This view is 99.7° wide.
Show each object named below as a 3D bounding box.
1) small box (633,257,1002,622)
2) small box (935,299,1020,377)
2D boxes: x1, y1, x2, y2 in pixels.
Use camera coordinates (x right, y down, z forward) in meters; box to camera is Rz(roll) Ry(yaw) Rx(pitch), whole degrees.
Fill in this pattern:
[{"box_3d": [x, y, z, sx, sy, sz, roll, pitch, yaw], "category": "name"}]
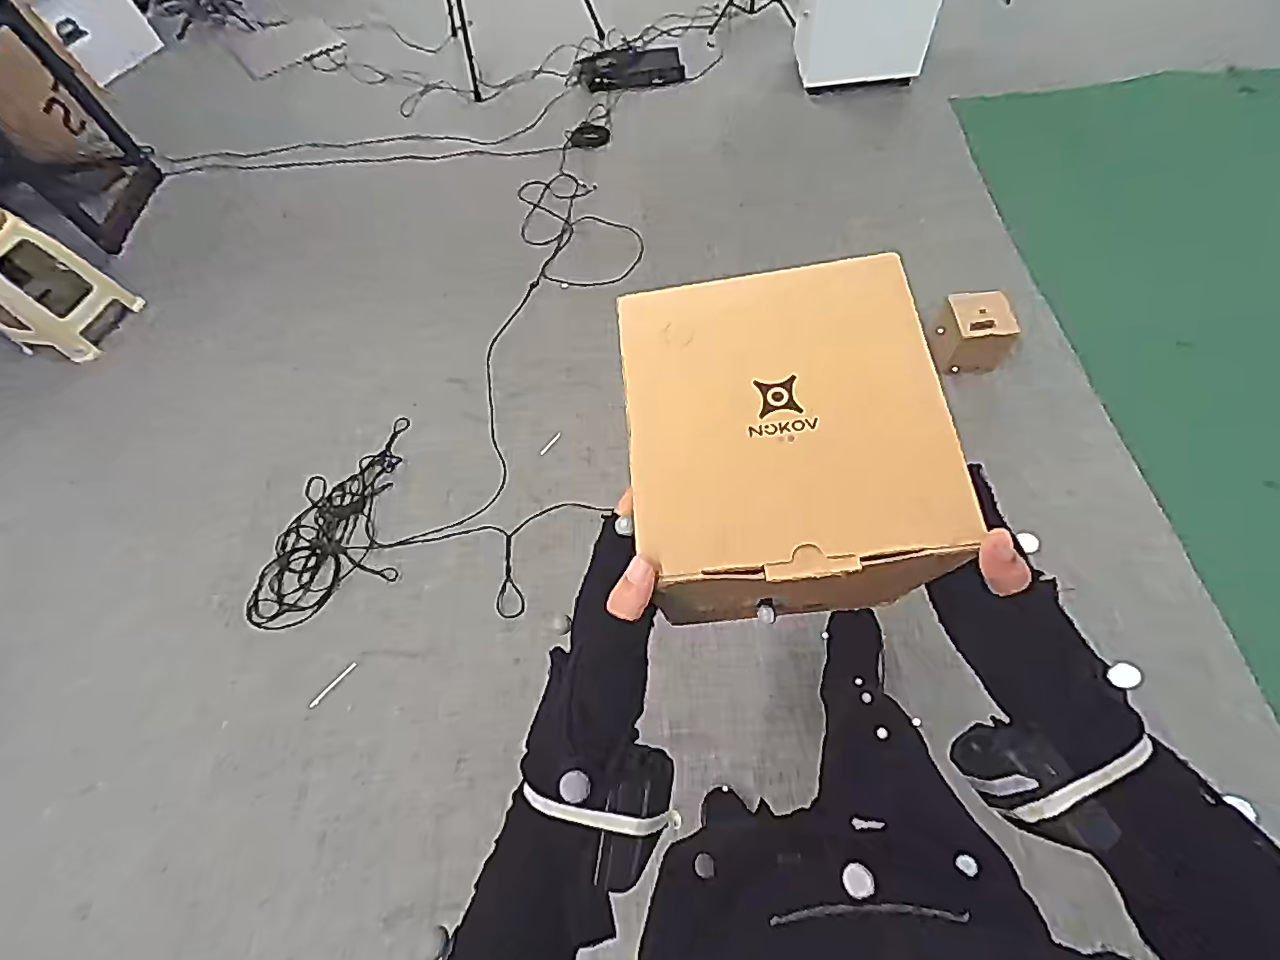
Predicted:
[{"box_3d": [0.091, -0.011, 0.361, 0.168, 0.176, 0.179, -7, 68, 6], "category": "small box"}, {"box_3d": [1.029, -0.432, 1.679, 0.168, 0.176, 0.179, -2, 60, 5], "category": "small box"}]
